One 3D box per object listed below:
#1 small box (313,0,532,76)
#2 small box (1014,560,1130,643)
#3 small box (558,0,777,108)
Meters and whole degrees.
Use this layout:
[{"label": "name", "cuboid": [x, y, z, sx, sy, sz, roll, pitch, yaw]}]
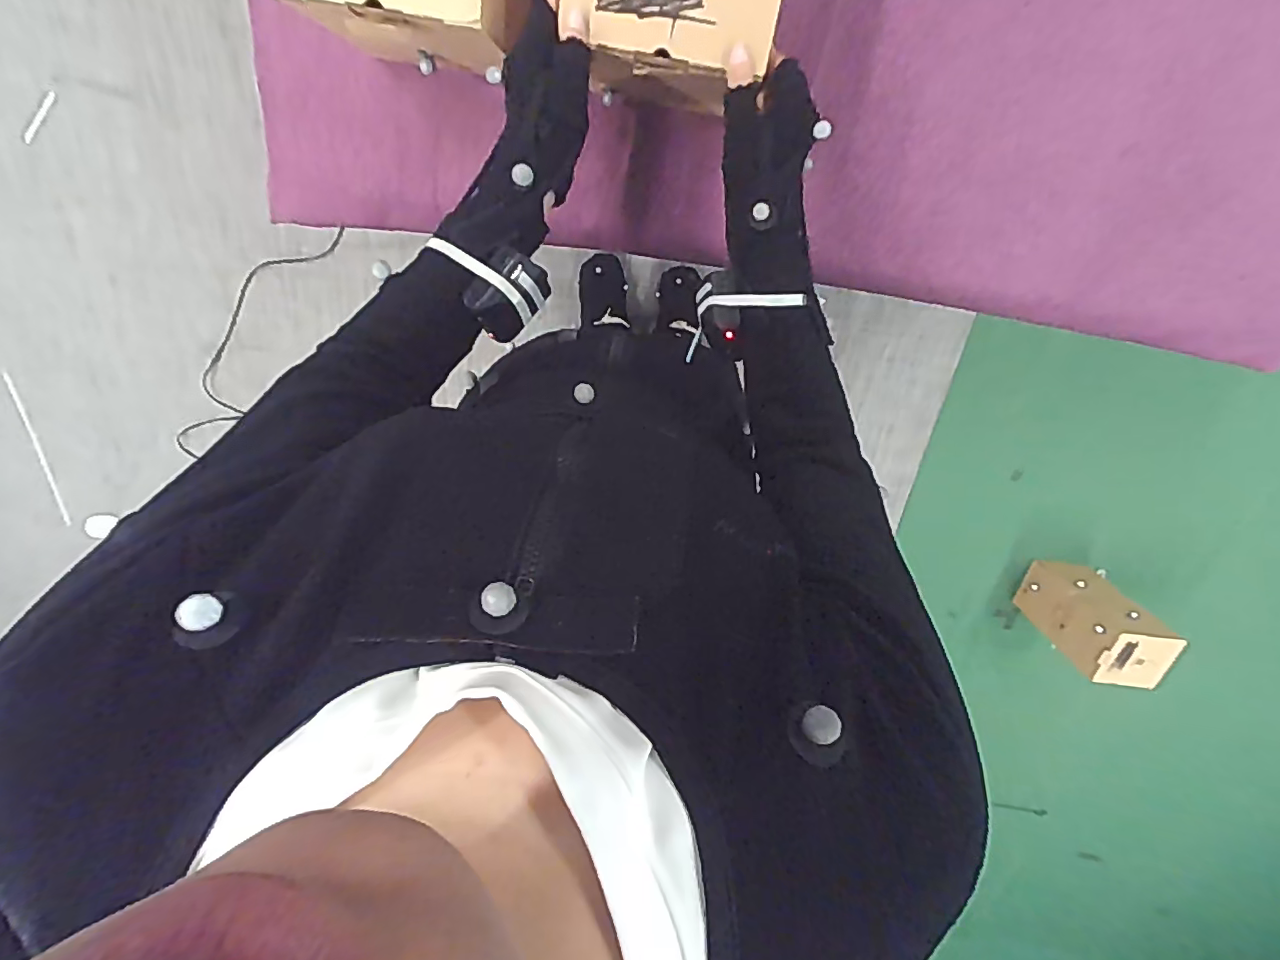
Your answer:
[{"label": "small box", "cuboid": [-0.185, -0.472, 0.447, 0.168, 0.176, 0.179, 8, 115, -2]}, {"label": "small box", "cuboid": [1.269, 0.356, 1.603, 0.179, 0.176, 0.168, 8, 115, -2]}, {"label": "small box", "cuboid": [0.033, -0.441, 0.458, 0.168, 0.176, 0.179, 9, 115, -3]}]
